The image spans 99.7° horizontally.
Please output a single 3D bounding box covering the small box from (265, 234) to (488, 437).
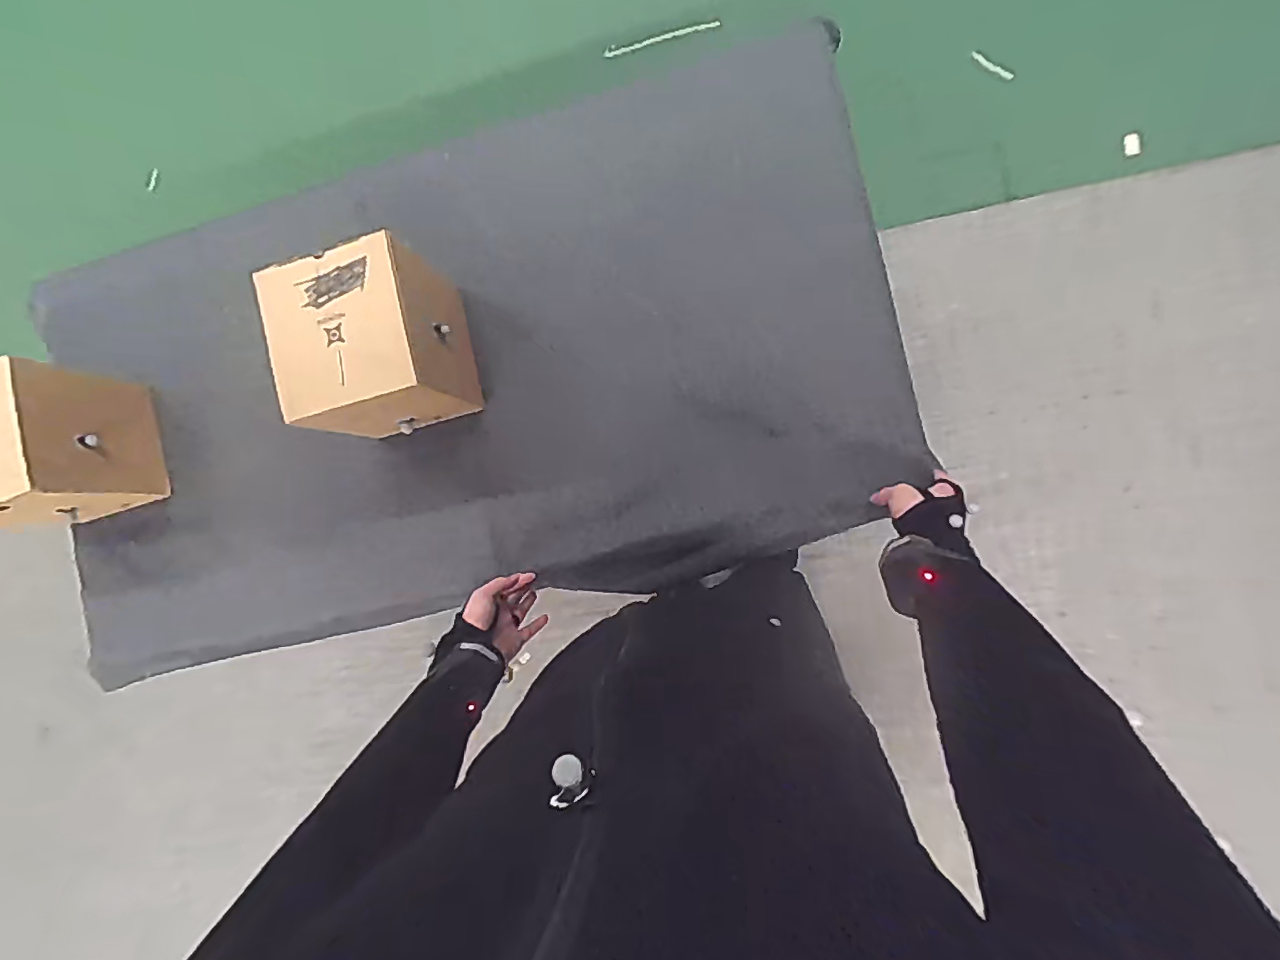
[{"bbox_3d":[-0.310,-0.162,0.666,0.168,0.176,0.179,-14,87,9],"label":"small box"}]

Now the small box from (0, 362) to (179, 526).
[{"bbox_3d":[-0.789,-0.040,0.744,0.168,0.176,0.179,-16,86,8],"label":"small box"}]
